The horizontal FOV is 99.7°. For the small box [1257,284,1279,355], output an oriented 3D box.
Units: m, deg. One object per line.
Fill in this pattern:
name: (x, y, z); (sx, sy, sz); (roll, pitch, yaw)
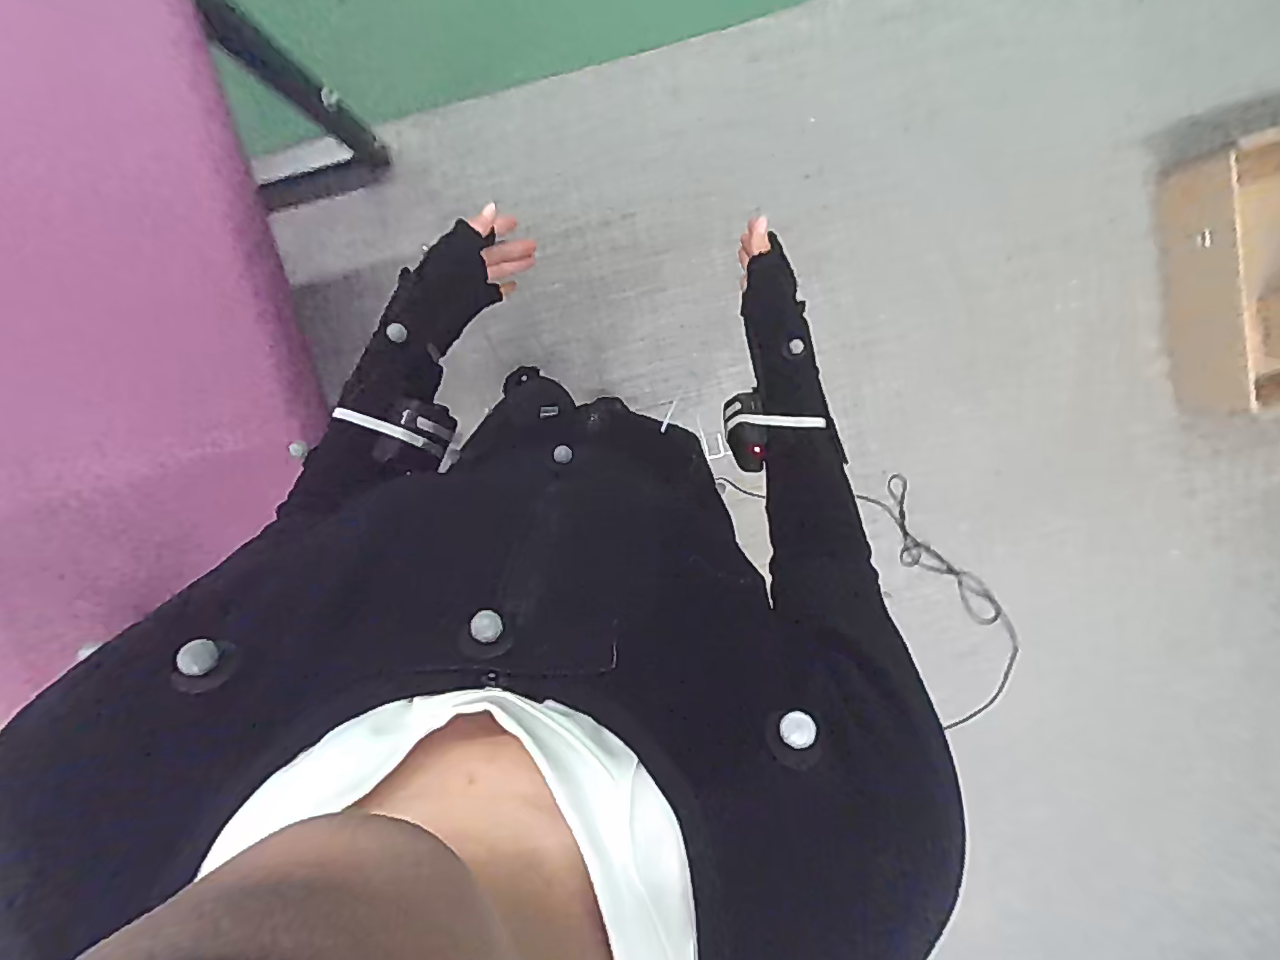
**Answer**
small box: (1.645, -0.408, 1.289); (0.179, 0.176, 0.168); (-20, 98, 3)
